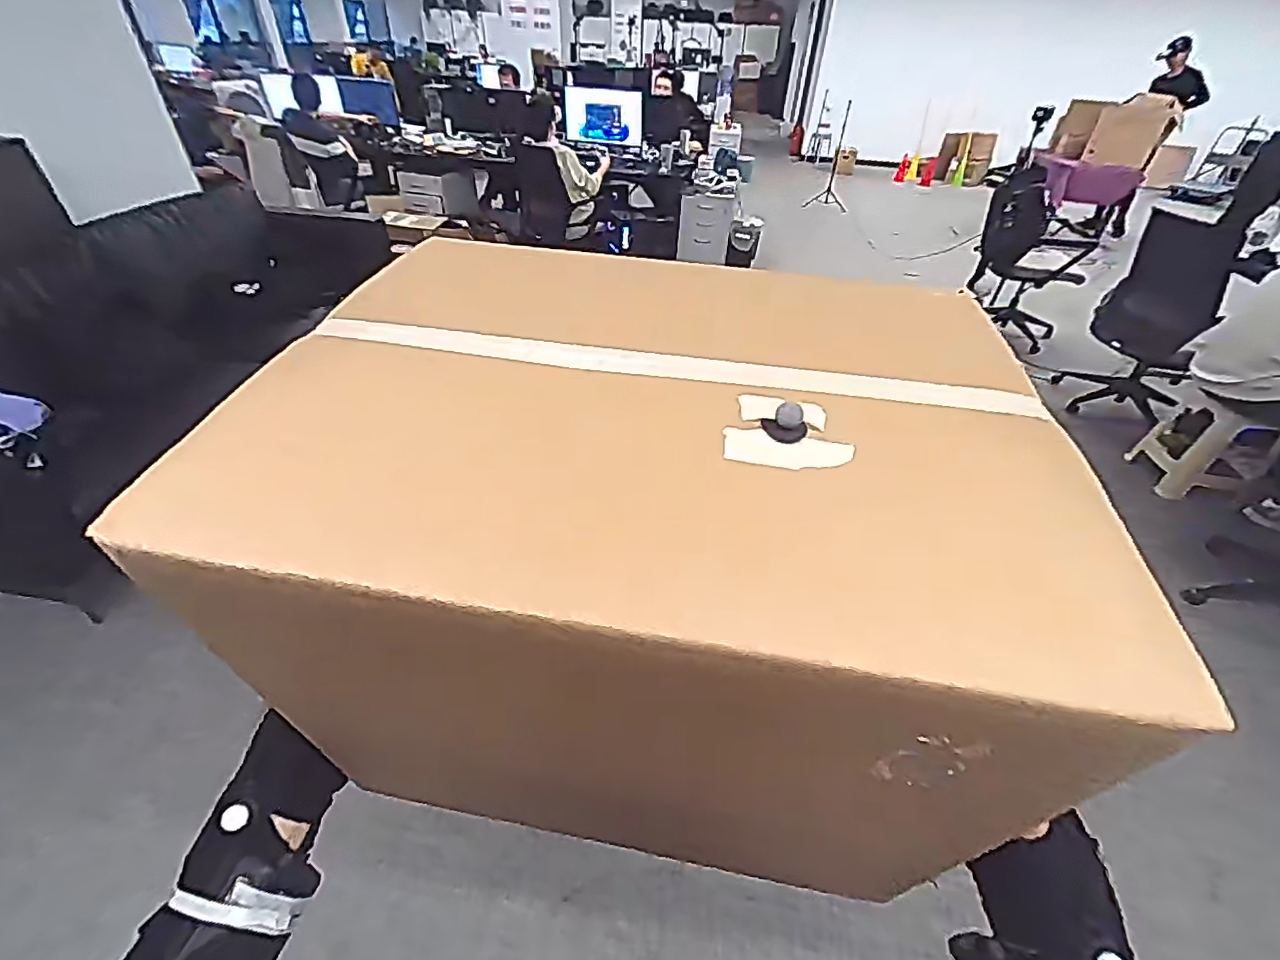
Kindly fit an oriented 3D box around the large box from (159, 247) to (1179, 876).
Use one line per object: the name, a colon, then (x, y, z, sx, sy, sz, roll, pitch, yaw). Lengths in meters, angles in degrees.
large box: (0.012, 0.052, 0.413, 0.408, 0.320, 0.320, 9, 46, 6)
